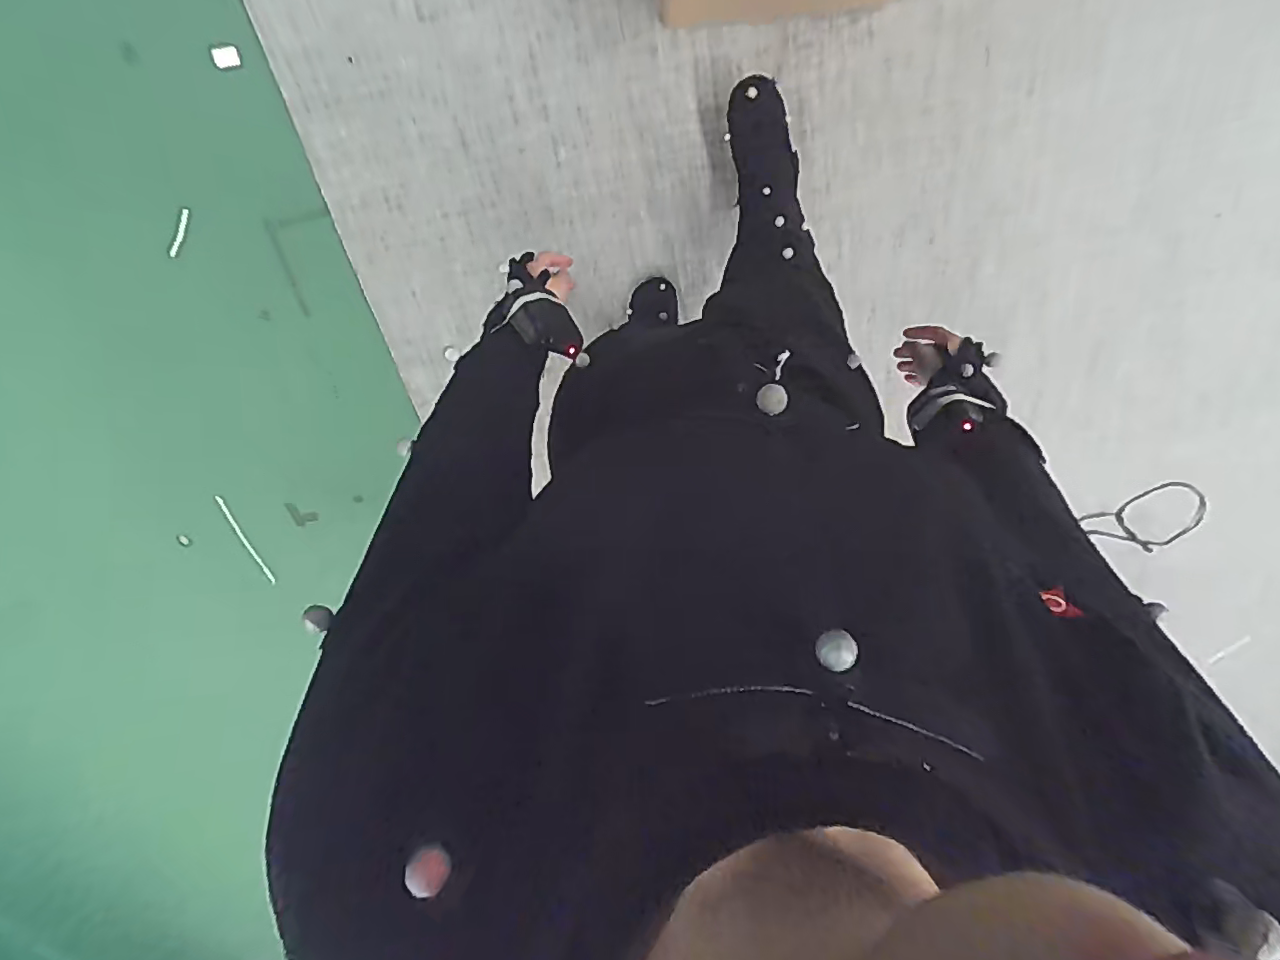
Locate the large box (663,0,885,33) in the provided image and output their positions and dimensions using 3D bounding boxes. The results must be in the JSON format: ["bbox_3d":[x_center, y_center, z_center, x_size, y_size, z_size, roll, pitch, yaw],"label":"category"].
[{"bbox_3d":[0.227,-0.902,0.782,0.408,0.320,0.320,-5,119,2],"label":"large box"}]
